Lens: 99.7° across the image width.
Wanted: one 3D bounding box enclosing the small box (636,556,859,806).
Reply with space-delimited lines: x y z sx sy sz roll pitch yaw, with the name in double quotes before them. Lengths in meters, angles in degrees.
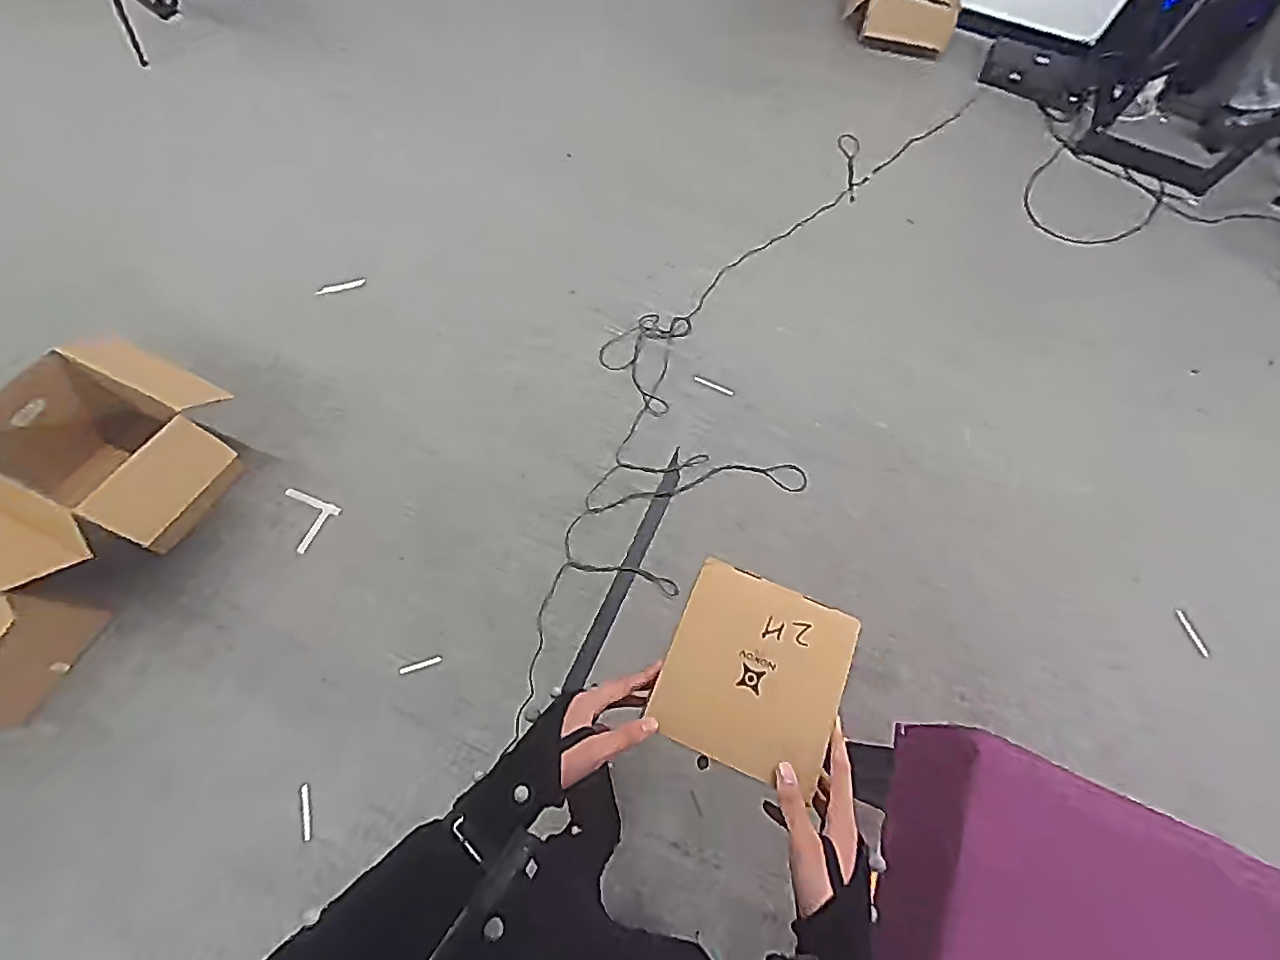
"small box" 0.106 0.209 0.581 0.168 0.176 0.179 22 70 8
